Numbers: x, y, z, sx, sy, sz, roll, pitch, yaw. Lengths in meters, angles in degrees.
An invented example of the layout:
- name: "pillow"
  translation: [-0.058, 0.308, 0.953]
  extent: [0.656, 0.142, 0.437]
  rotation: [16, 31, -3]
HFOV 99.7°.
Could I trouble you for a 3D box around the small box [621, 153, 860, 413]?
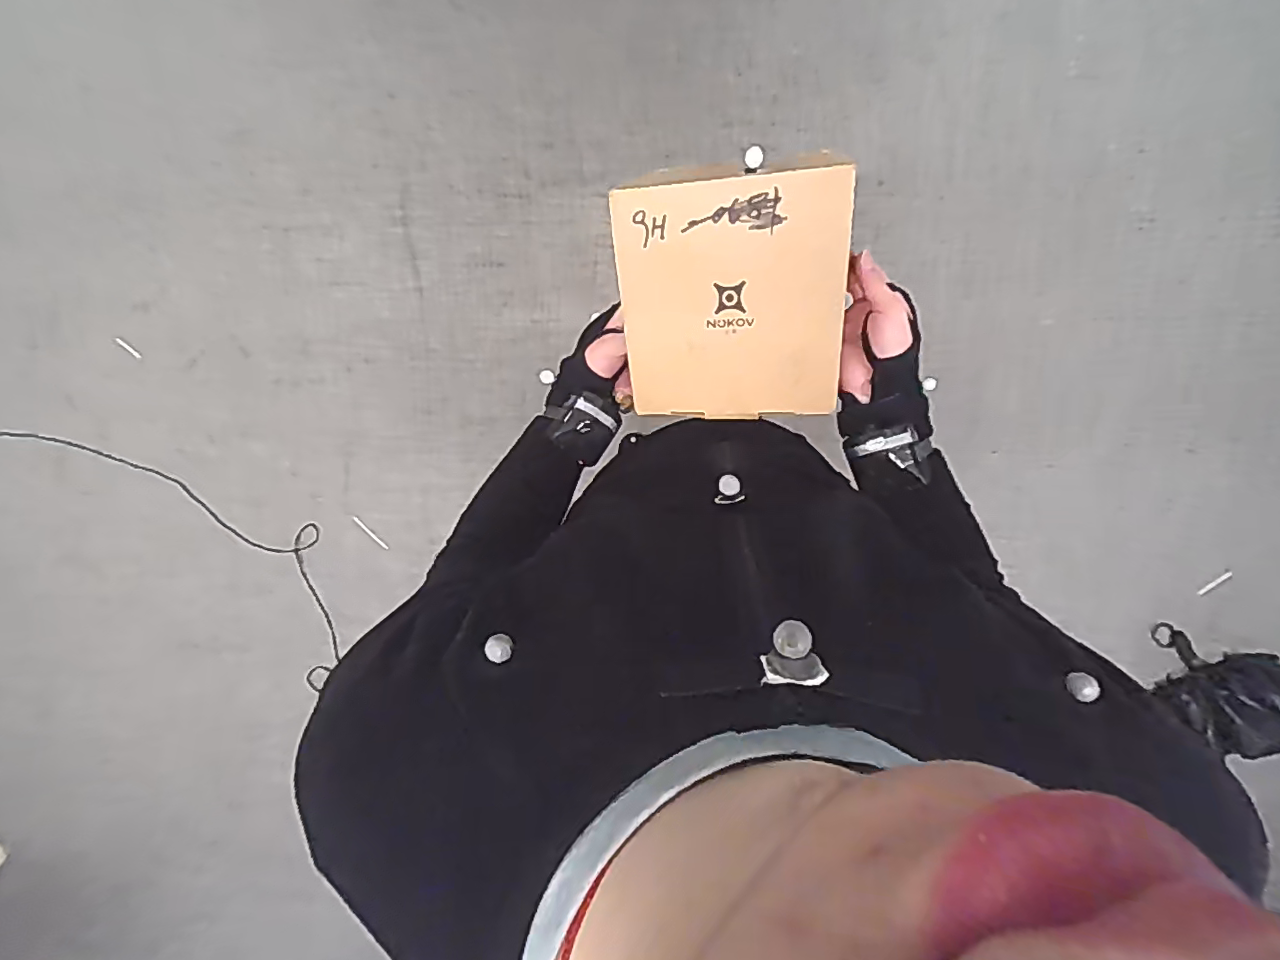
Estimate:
- name: "small box"
  translation: [0.089, -0.175, 0.480]
  extent: [0.168, 0.176, 0.179]
  rotation: [1, 125, 13]
